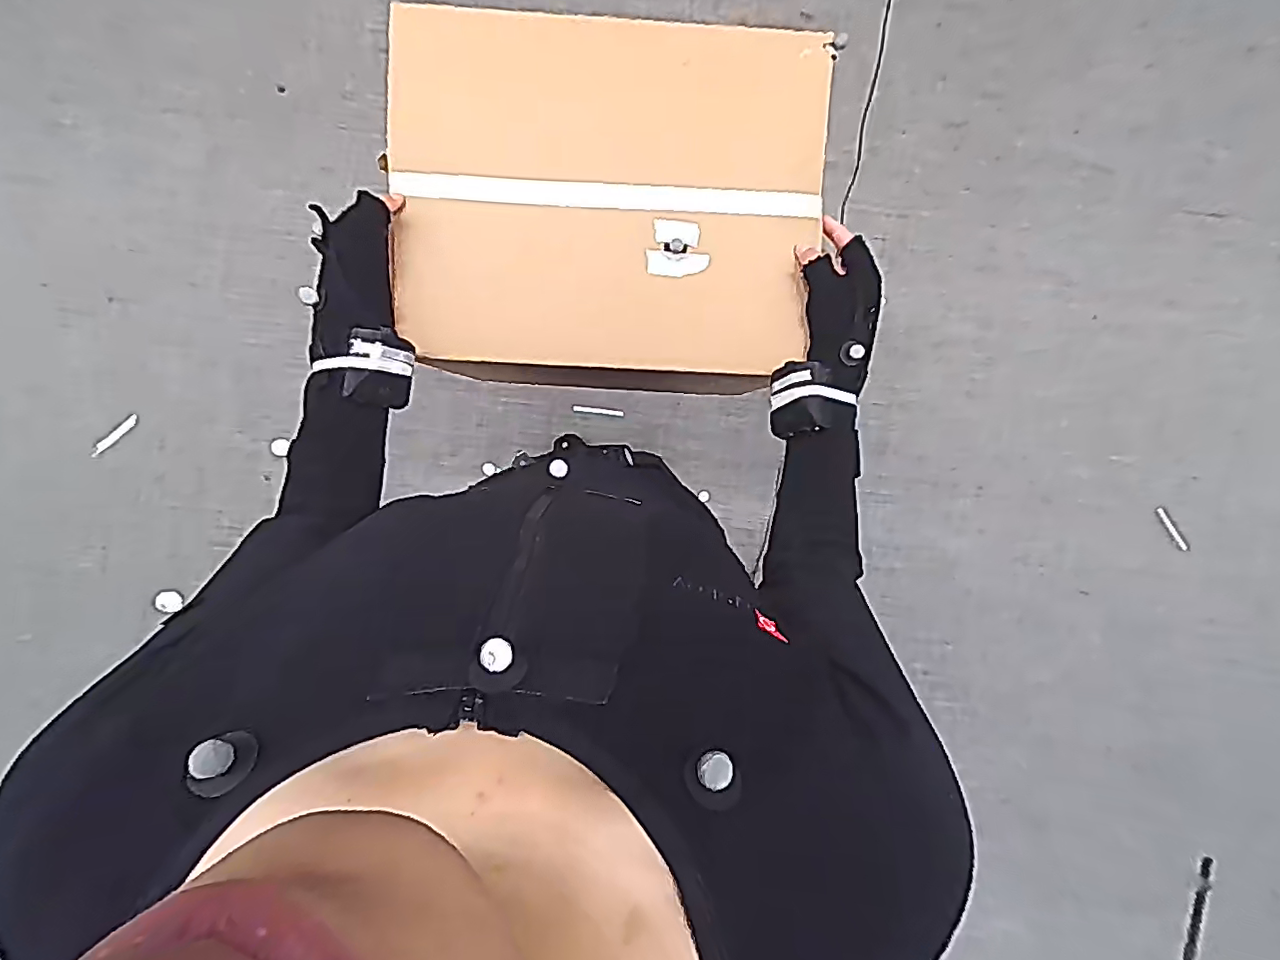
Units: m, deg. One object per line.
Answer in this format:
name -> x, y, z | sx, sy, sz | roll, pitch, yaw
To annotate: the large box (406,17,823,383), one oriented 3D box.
large box -> -0.032, -0.292, 0.675 | 0.408, 0.320, 0.320 | 2, 97, -2
